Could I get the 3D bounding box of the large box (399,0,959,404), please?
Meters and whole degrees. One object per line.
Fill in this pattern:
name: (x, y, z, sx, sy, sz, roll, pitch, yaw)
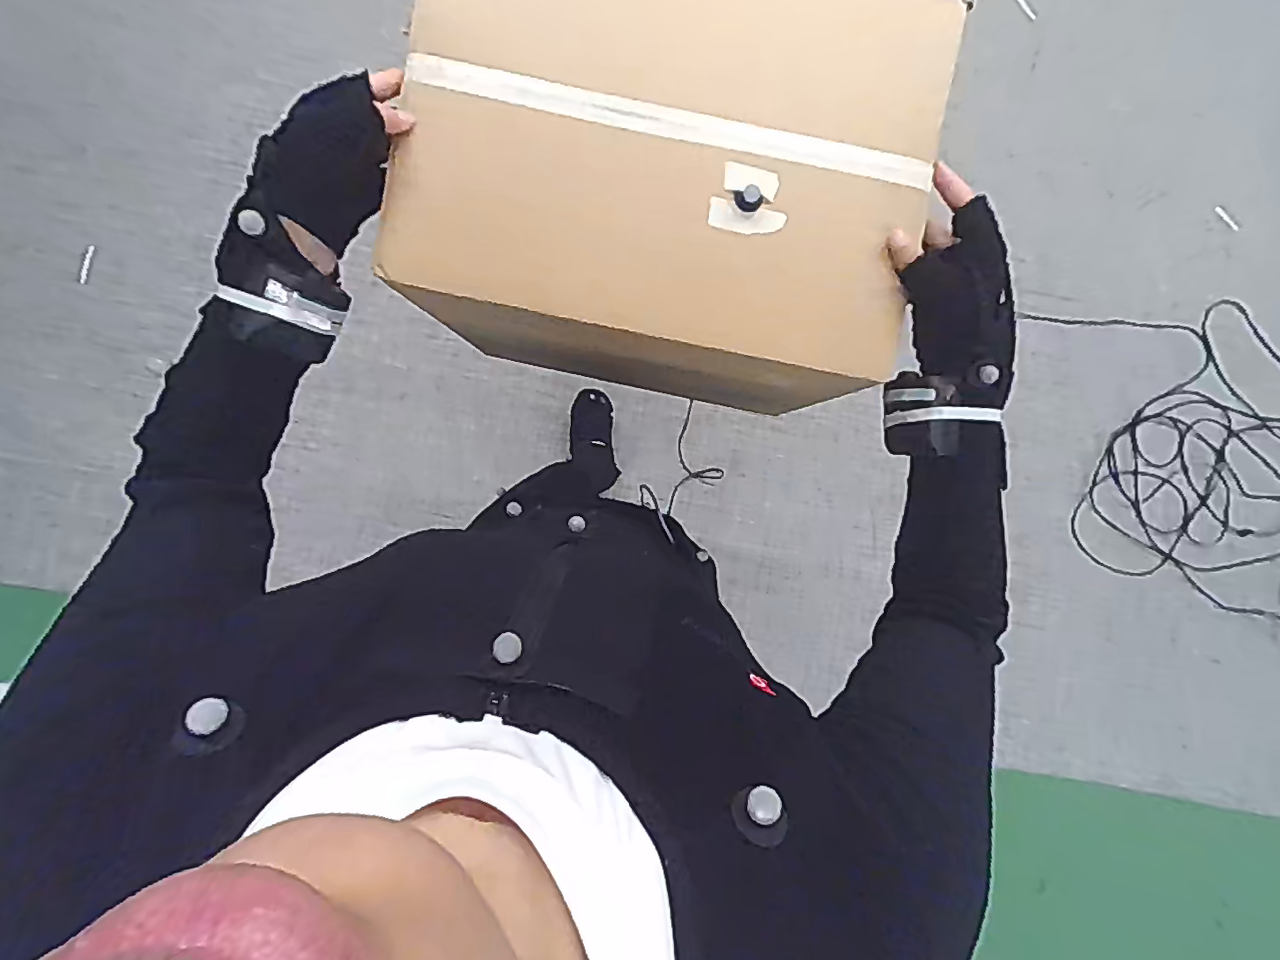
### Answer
large box: (0.026, -0.280, 0.571, 0.408, 0.320, 0.320, 11, 93, -1)
